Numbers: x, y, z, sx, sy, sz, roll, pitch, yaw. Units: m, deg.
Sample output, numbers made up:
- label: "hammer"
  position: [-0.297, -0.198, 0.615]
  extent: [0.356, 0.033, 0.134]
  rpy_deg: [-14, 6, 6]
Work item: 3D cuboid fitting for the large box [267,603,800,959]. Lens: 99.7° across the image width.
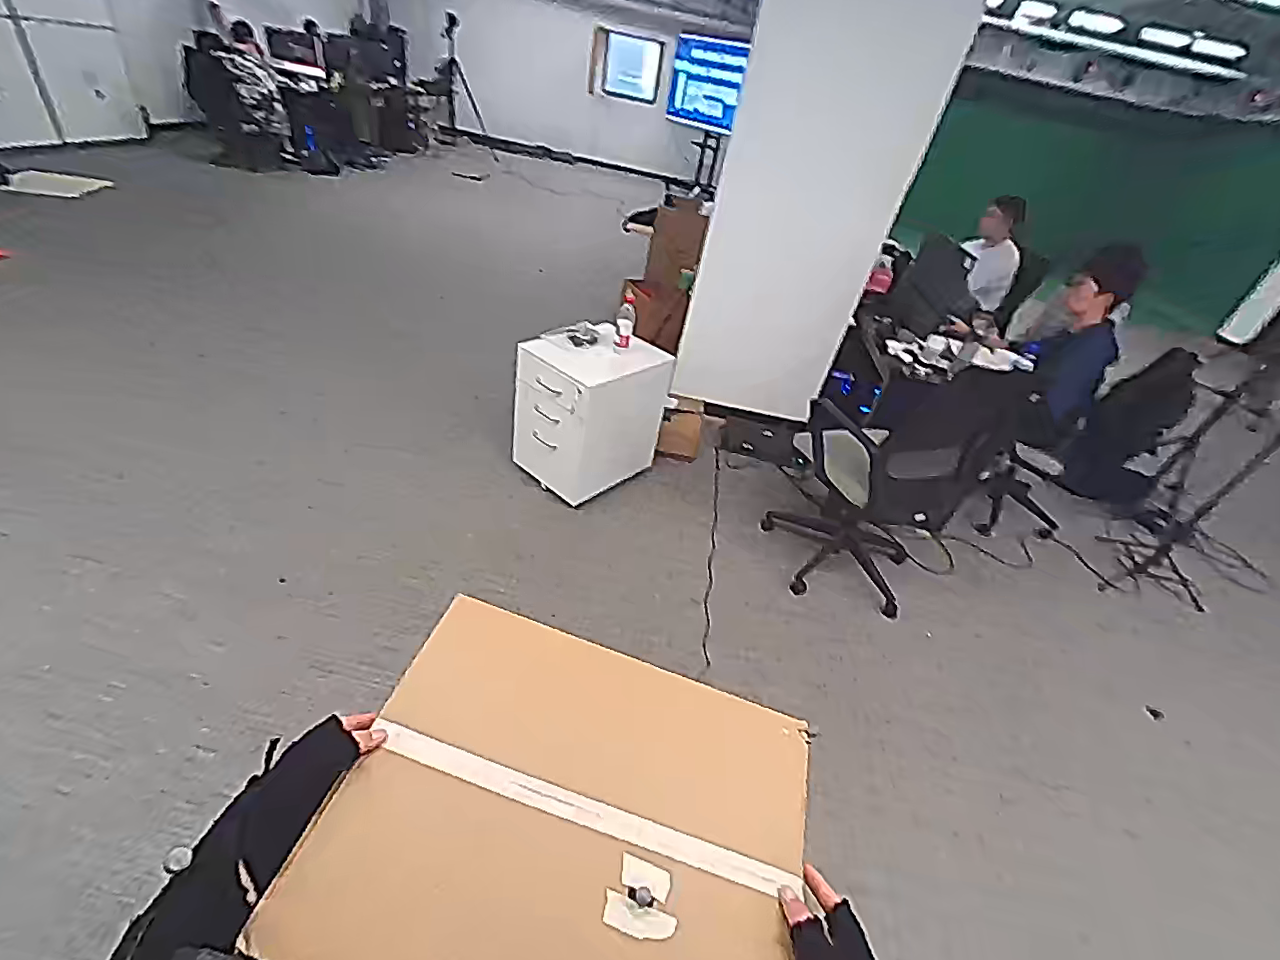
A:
- label: "large box"
  position: [-0.082, 0.399, 0.588]
  extent: [0.408, 0.320, 0.320]
  rpy_deg: [20, 43, 2]
